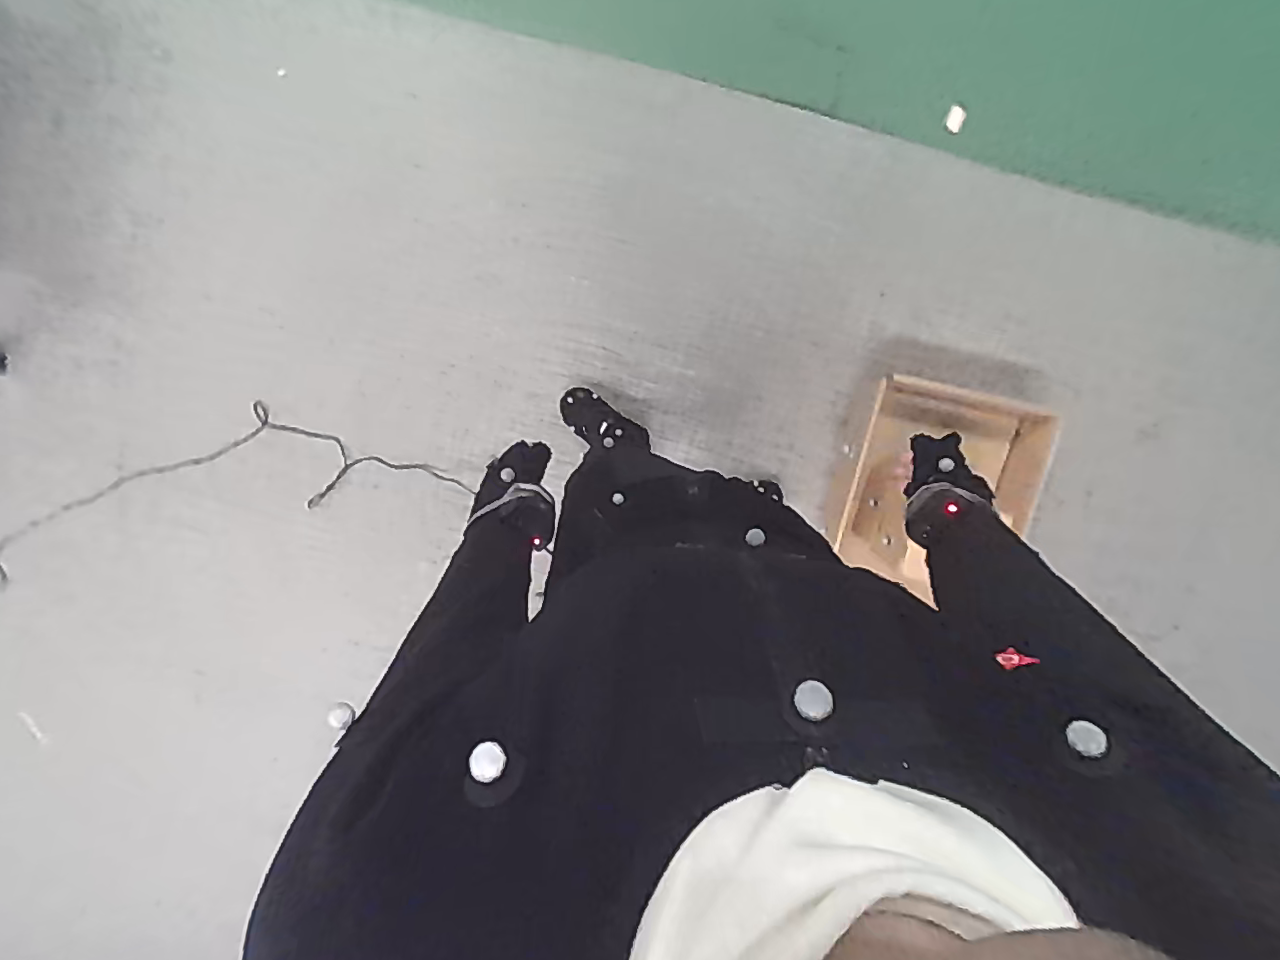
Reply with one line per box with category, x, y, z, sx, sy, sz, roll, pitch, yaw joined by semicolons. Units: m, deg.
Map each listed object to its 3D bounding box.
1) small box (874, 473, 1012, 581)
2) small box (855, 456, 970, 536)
small box;0.604;0.087;1.104;0.179;0.176;0.168;10;101;3
small box;0.629;0.053;1.277;0.168;0.176;0.179;15;99;0
